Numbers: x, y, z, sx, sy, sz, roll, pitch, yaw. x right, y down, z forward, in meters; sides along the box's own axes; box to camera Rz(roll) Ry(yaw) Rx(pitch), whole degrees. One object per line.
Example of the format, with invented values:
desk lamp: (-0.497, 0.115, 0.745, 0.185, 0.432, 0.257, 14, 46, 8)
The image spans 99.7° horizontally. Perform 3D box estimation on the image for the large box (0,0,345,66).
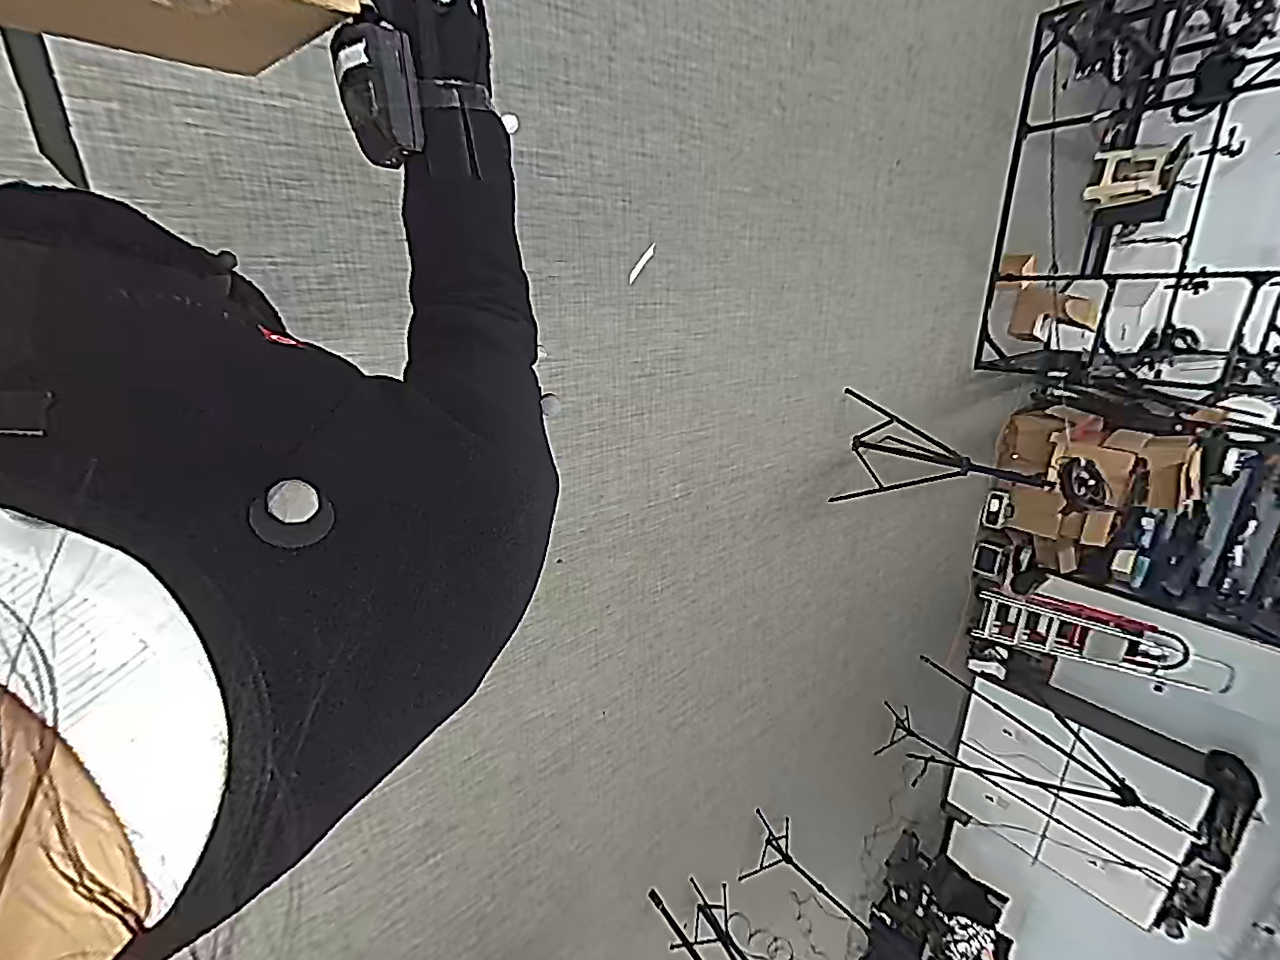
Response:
large box: (-0.399, -0.414, 0.216, 0.408, 0.320, 0.320, -17, 125, -39)
